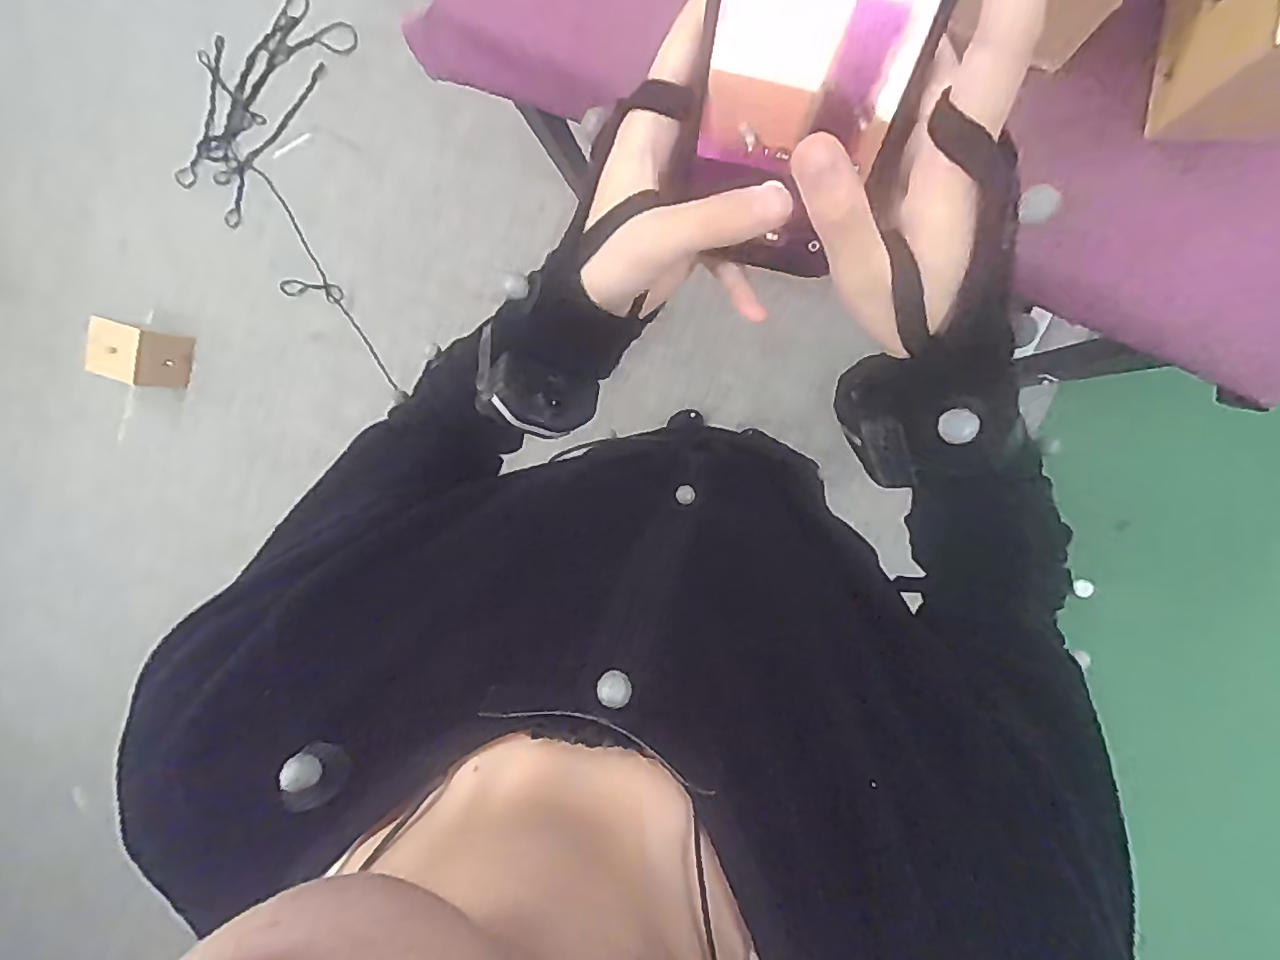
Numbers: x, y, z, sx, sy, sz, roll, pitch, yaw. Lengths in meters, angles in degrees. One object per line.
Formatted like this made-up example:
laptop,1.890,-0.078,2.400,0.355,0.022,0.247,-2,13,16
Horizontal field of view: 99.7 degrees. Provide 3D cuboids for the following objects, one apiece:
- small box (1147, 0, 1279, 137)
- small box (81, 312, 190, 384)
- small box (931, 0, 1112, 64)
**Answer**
small box,0.676,-0.475,0.546,0.179,0.176,0.168,6,96,9
small box,-1.519,-0.393,1.637,0.179,0.176,0.168,18,98,7
small box,0.450,-0.597,0.571,0.179,0.176,0.168,30,100,5
